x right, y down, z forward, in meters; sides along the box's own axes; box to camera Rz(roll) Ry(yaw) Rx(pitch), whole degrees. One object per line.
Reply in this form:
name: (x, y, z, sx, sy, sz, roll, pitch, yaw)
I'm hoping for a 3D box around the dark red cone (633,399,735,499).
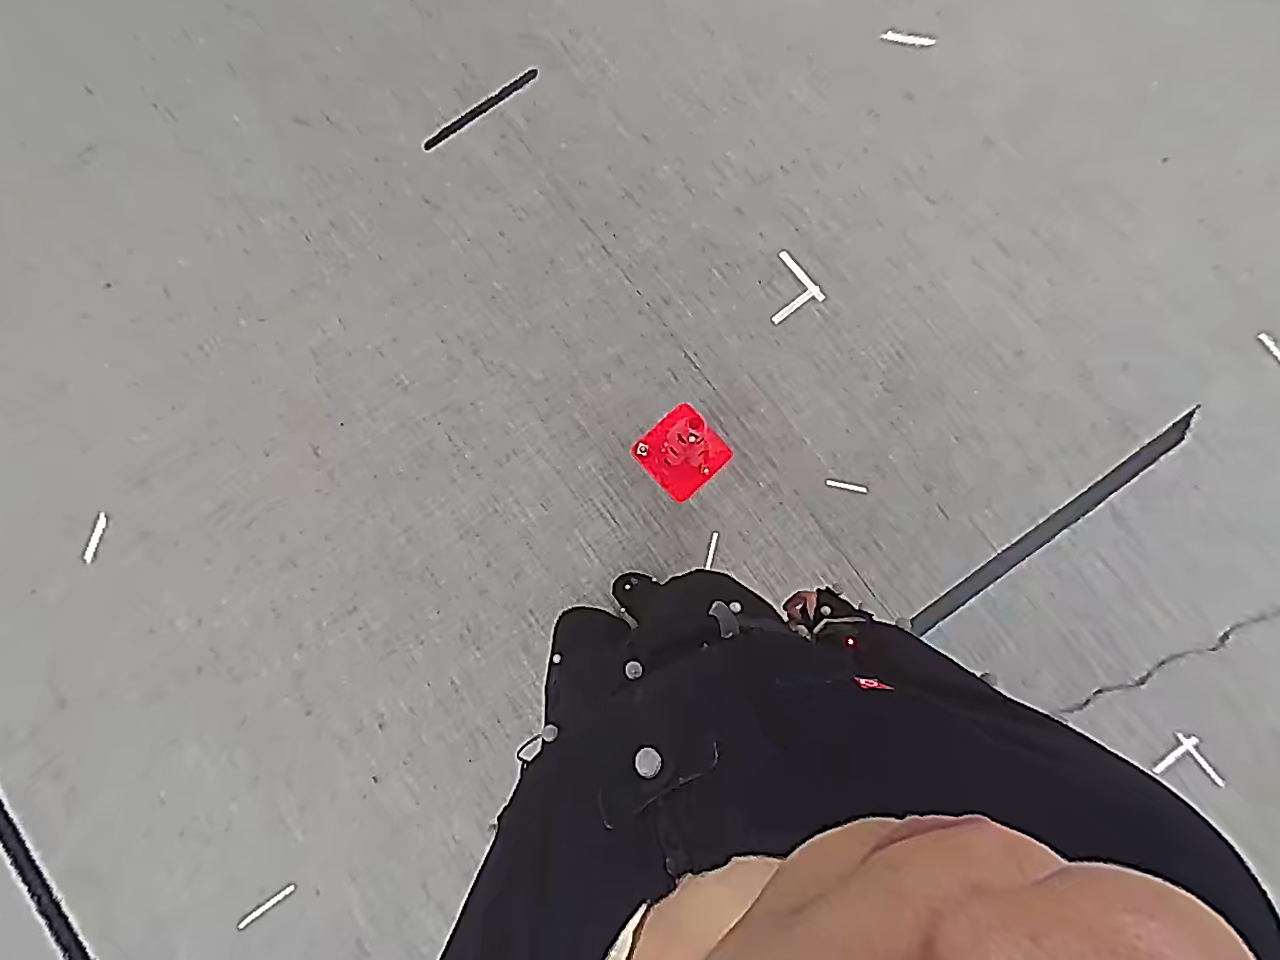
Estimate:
dark red cone: (0.111, -0.098, 1.204, 0.202, 0.394, 0.201, -43, 86, -4)
